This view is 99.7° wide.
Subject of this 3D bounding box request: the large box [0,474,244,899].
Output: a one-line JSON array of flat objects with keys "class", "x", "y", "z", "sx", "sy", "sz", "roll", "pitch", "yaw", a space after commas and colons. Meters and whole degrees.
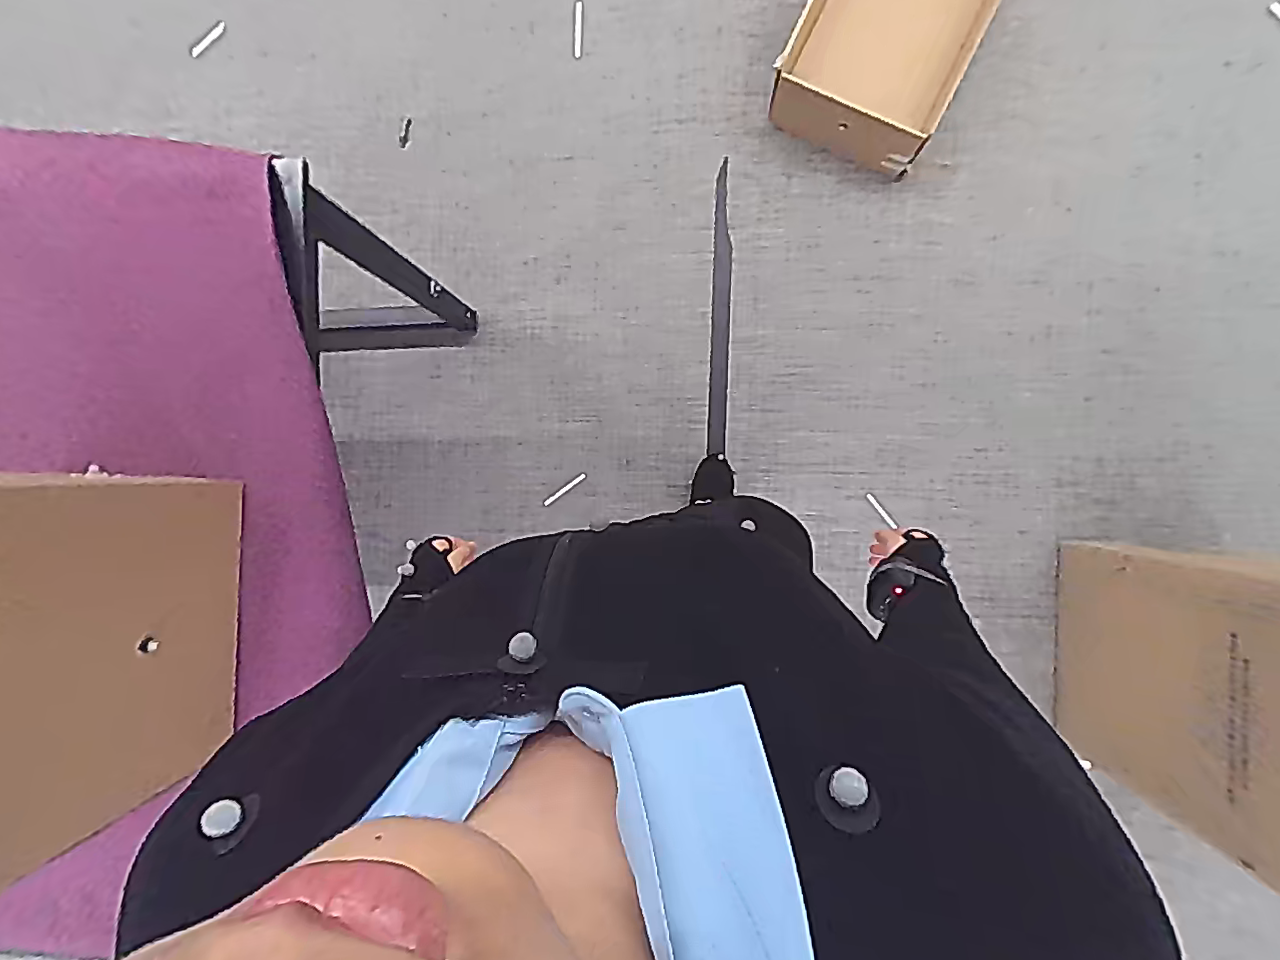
[{"class": "large box", "x": -0.746, "y": 0.197, "z": 0.660, "sx": 0.320, "sy": 0.320, "sz": 0.408, "roll": 2, "pitch": 92, "yaw": 6}]
